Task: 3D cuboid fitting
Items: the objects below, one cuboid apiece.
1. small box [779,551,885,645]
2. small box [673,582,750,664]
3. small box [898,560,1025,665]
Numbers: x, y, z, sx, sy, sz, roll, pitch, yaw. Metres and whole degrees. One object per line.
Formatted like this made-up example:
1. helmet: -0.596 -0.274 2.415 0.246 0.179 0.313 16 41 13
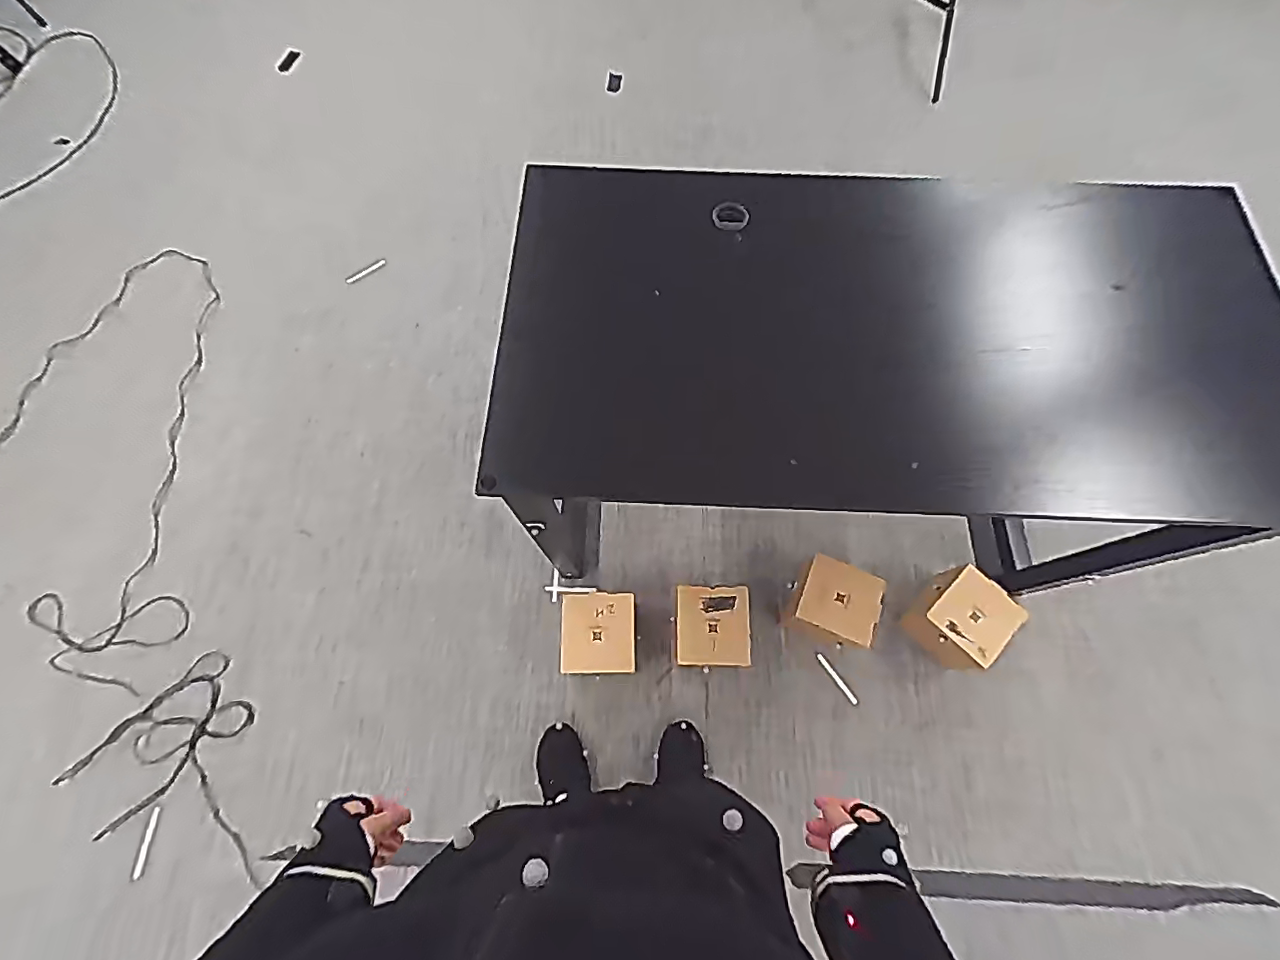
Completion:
1. small box: 0.461 0.294 1.319 0.179 0.176 0.168 21 71 9
2. small box: 0.165 0.348 1.300 0.168 0.176 0.179 1 71 1
3. small box: 0.762 0.323 1.304 0.179 0.176 0.168 -43 75 -14
